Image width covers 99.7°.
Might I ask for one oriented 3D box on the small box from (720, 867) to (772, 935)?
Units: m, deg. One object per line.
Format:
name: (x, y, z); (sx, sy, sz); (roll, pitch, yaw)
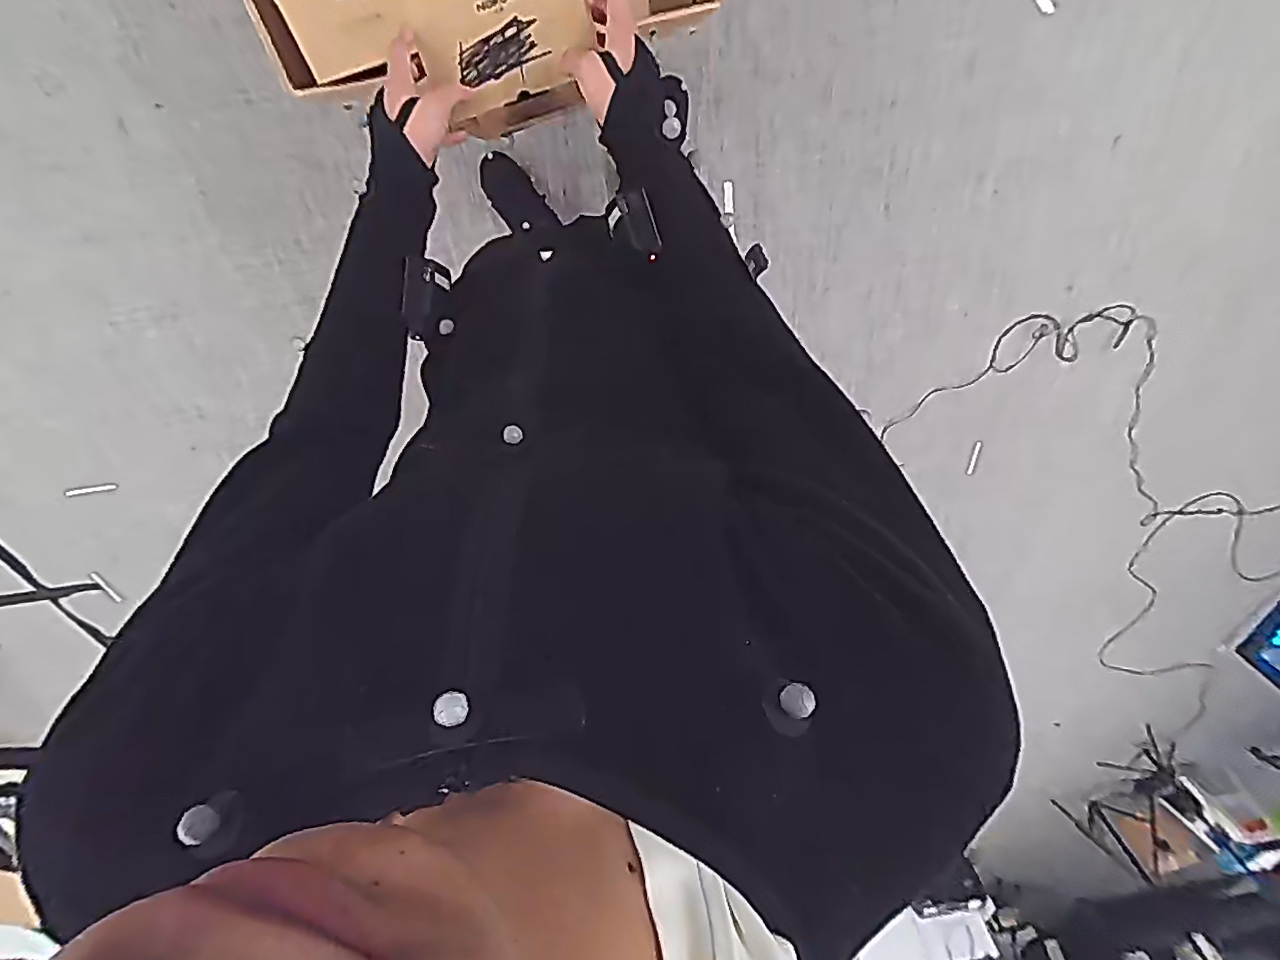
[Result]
small box: (0.413, 1.661, 2.134); (0.168, 0.176, 0.179); (-6, 127, -2)

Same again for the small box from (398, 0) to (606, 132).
small box: (-0.136, -0.477, 0.551); (0.168, 0.176, 0.179); (-14, 117, 6)
